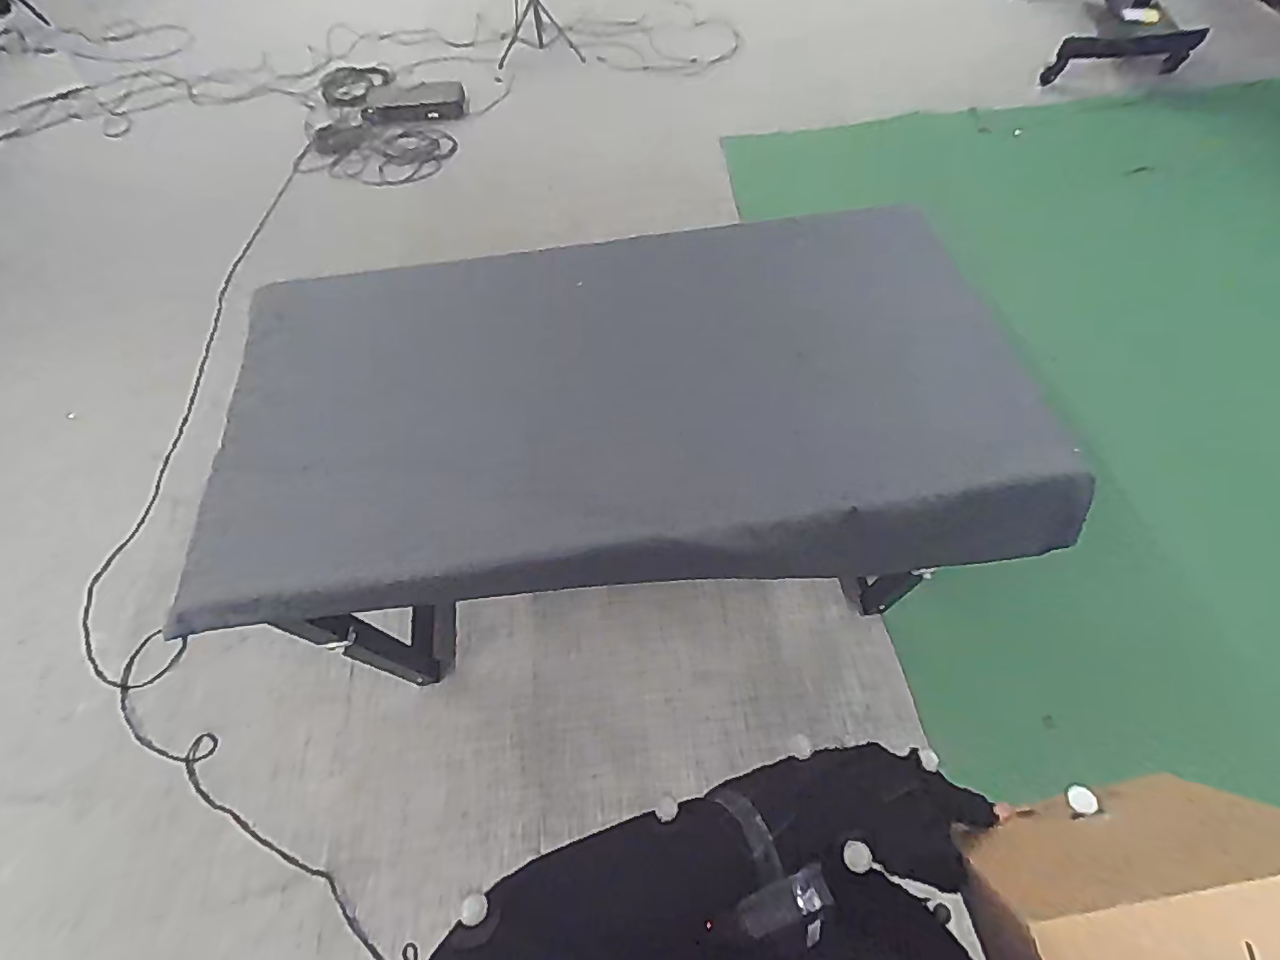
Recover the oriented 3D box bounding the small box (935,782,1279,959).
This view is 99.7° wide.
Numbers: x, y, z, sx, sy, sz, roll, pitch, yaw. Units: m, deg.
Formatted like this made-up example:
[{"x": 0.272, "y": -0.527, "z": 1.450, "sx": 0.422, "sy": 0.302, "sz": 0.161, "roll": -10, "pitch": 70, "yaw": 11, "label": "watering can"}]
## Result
[{"x": 0.299, "y": 0.296, "z": 0.304, "sx": 0.168, "sy": 0.176, "sz": 0.179, "roll": -17, "pitch": 68, "yaw": 8, "label": "small box"}]
